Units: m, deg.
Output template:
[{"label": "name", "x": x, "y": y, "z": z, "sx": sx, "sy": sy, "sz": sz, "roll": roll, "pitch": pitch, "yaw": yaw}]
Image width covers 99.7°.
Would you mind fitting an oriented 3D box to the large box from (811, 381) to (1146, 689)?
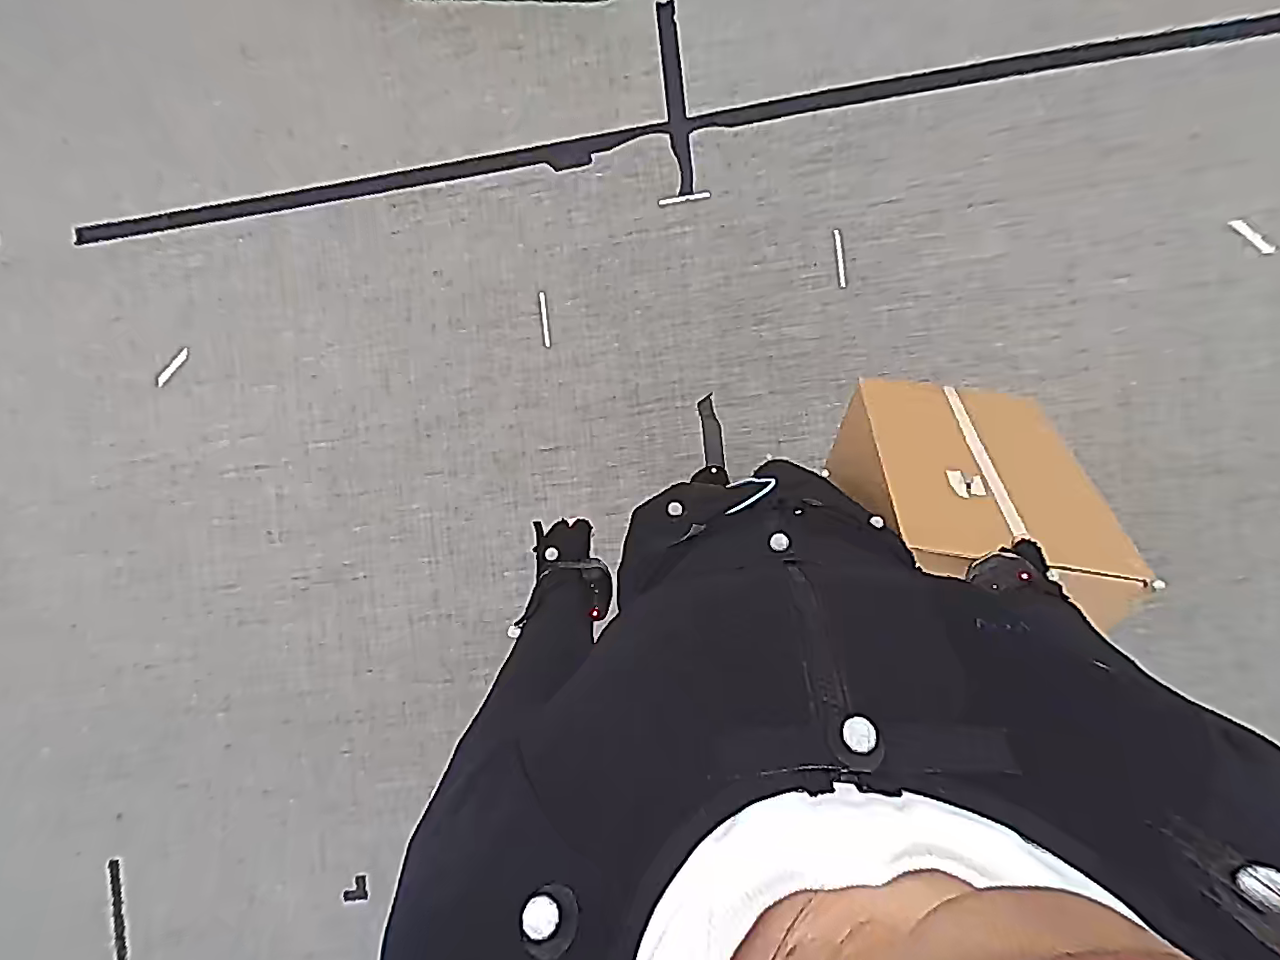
[{"label": "large box", "x": 0.506, "y": 0.084, "z": 0.933, "sx": 0.320, "sy": 0.408, "sz": 0.320, "roll": 8, "pitch": 135, "yaw": 4}]
